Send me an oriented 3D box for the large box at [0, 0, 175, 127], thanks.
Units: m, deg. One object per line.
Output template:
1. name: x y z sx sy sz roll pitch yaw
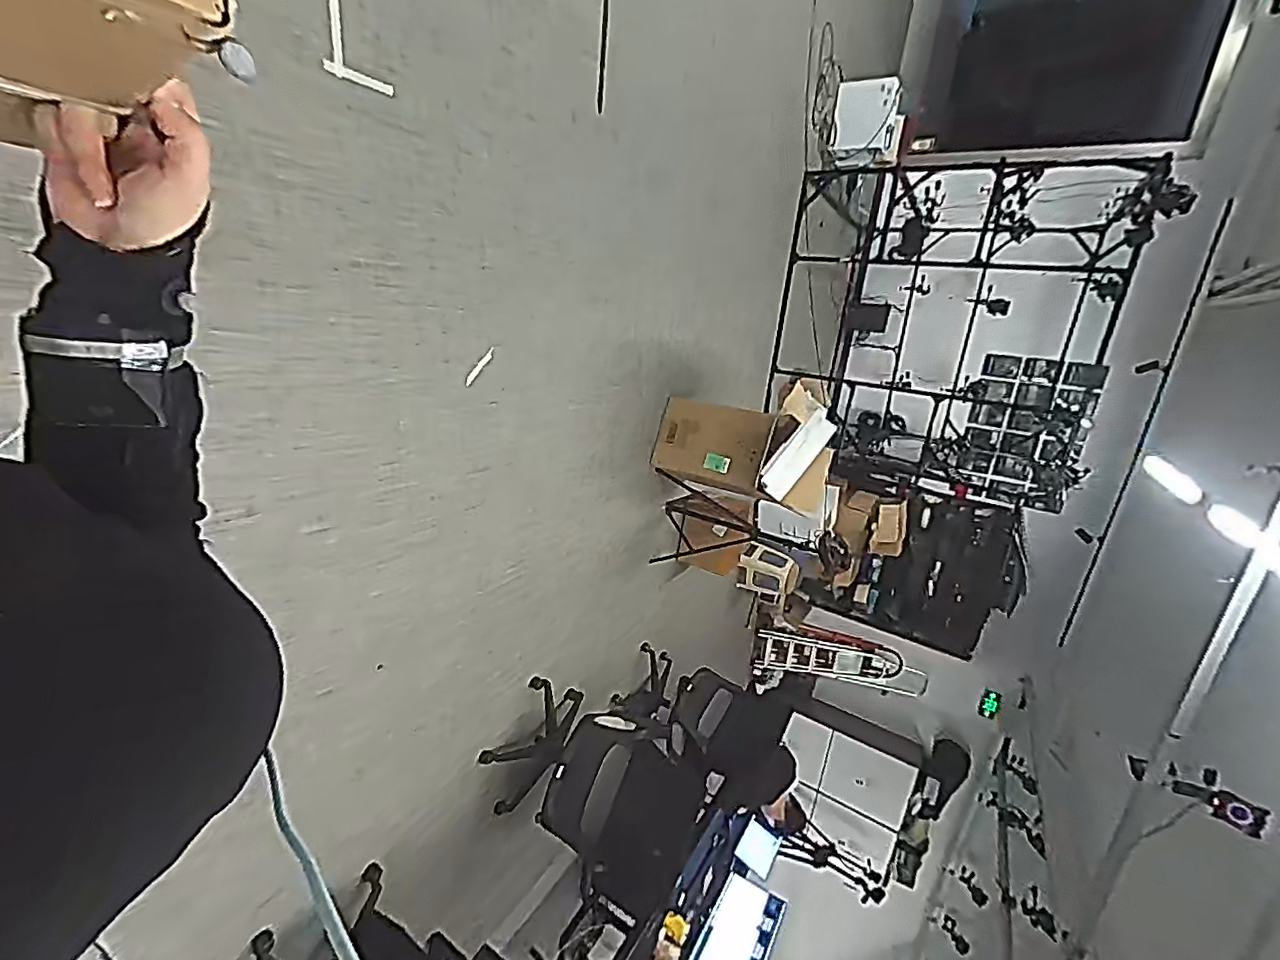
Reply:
1. large box: -0.394 -0.318 0.091 0.408 0.320 0.320 -17 117 -50
